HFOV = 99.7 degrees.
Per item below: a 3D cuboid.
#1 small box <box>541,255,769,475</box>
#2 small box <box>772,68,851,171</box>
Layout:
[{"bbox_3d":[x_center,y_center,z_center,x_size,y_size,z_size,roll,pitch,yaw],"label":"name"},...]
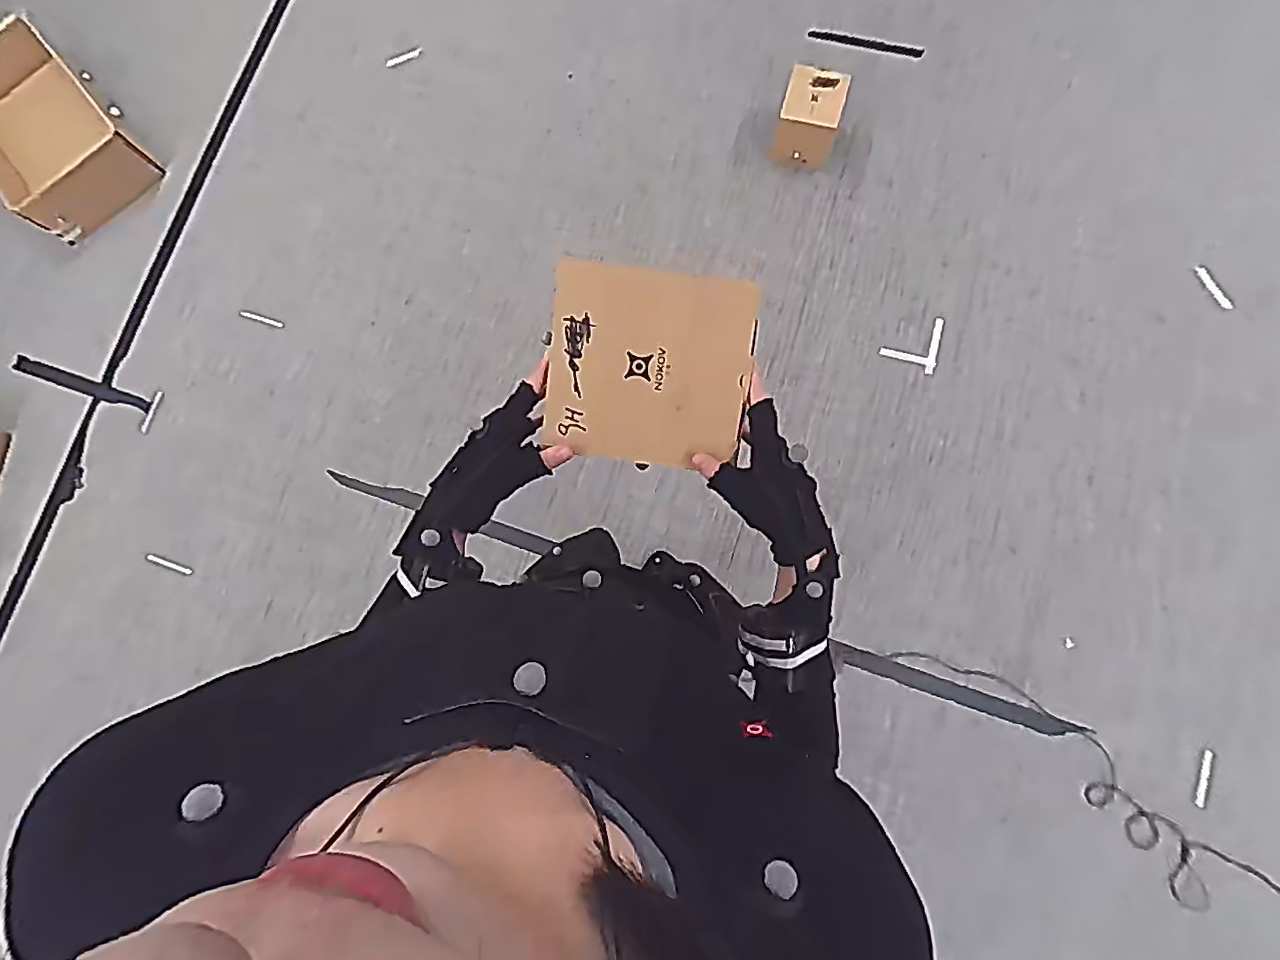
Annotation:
[{"bbox_3d":[0.012,-0.105,0.540,0.179,0.176,0.168,8,96,1],"label":"small box"},{"bbox_3d":[0.504,-1.068,1.610,0.168,0.176,0.179,16,84,7],"label":"small box"}]
